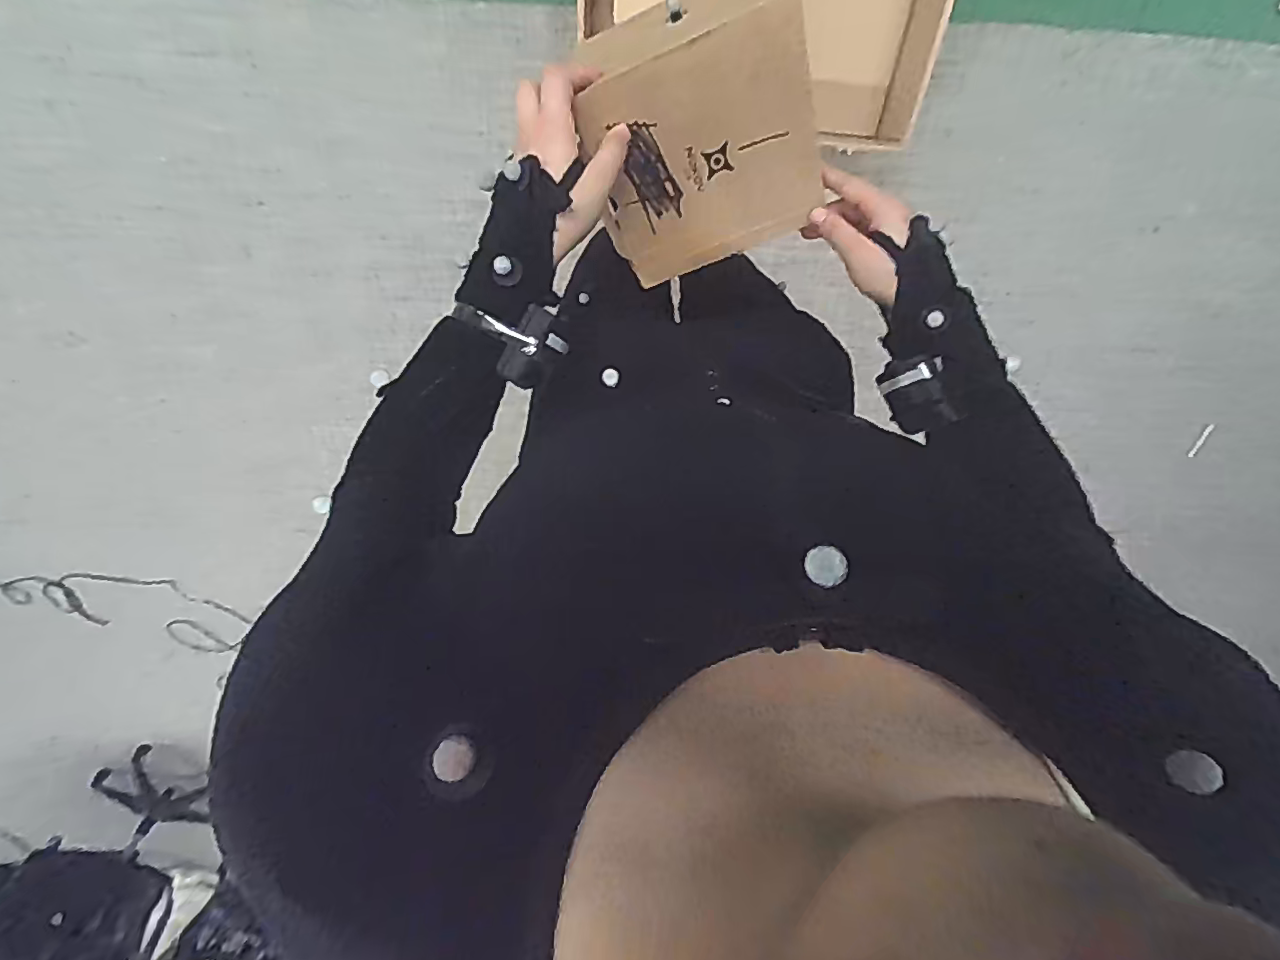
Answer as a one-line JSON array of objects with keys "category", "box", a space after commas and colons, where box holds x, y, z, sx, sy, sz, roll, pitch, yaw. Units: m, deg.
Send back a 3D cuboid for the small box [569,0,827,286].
[{"category": "small box", "box": [0.052, -0.315, 0.490, 0.179, 0.176, 0.168, -17, 138, 15]}]
